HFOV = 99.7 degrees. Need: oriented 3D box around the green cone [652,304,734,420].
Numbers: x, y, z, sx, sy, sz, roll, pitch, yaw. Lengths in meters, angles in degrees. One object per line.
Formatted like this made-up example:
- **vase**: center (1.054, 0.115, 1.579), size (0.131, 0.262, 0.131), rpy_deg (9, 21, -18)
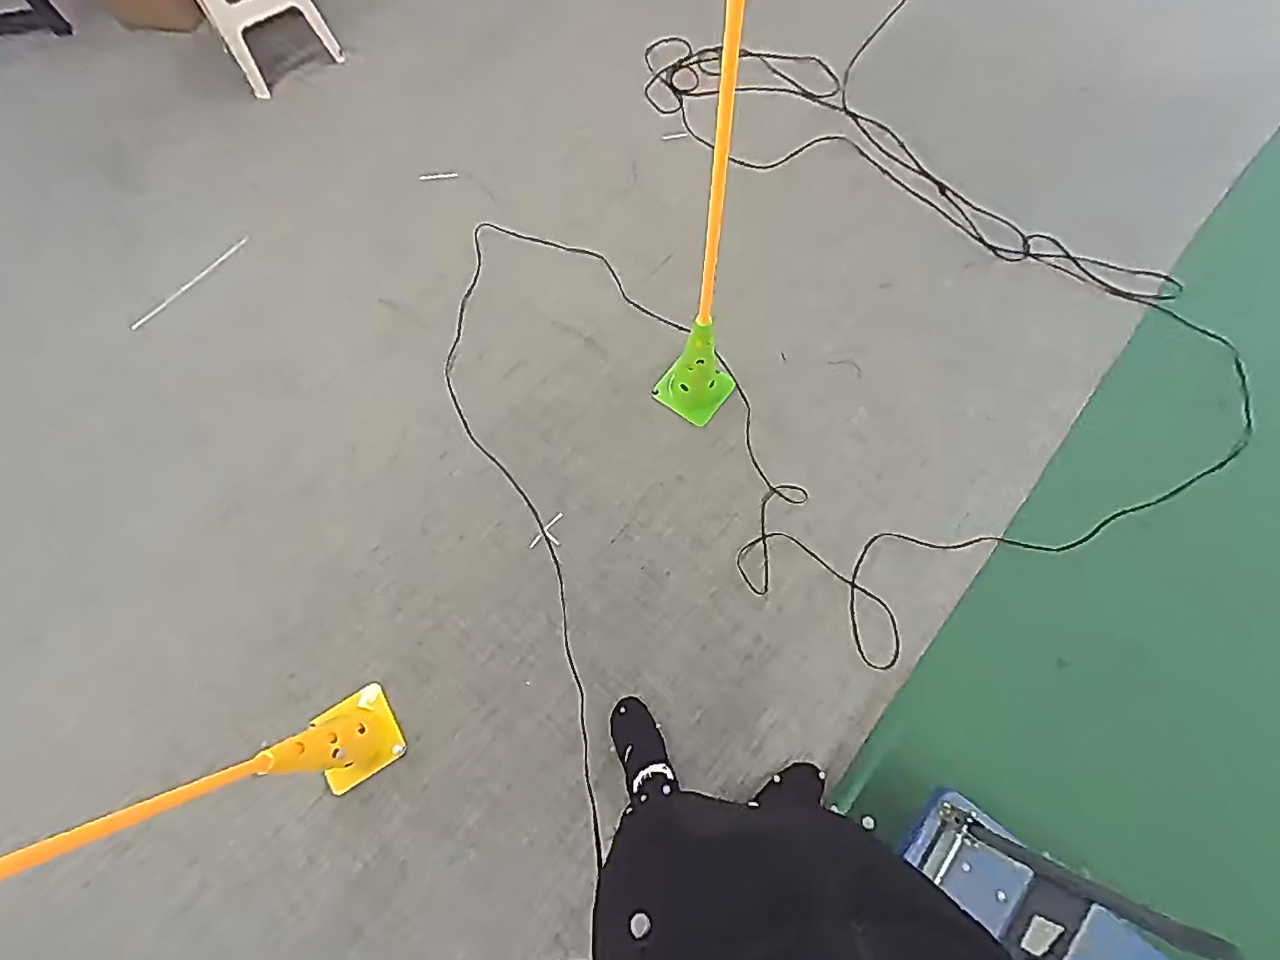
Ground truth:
- **green cone**: center (0.162, -0.357, 1.507), size (0.200, 0.368, 0.202), rpy_deg (35, 75, 12)
